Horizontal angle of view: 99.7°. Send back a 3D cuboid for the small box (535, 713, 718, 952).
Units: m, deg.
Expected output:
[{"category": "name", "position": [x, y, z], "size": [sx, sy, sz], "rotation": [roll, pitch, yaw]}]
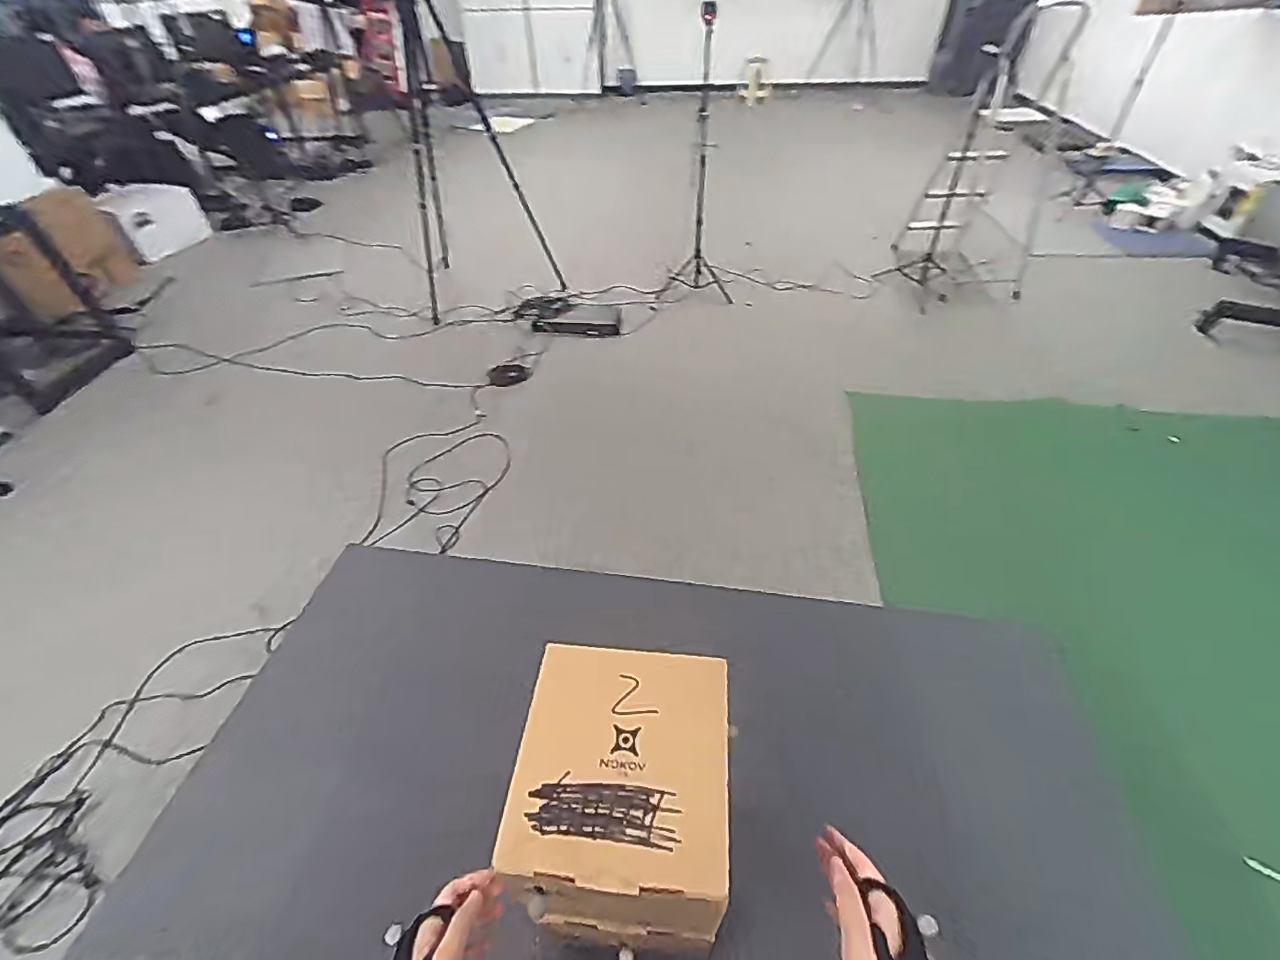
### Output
[{"category": "small box", "position": [-0.005, 0.380, 0.586], "size": [0.168, 0.176, 0.179], "rotation": [2, 44, 5]}]
